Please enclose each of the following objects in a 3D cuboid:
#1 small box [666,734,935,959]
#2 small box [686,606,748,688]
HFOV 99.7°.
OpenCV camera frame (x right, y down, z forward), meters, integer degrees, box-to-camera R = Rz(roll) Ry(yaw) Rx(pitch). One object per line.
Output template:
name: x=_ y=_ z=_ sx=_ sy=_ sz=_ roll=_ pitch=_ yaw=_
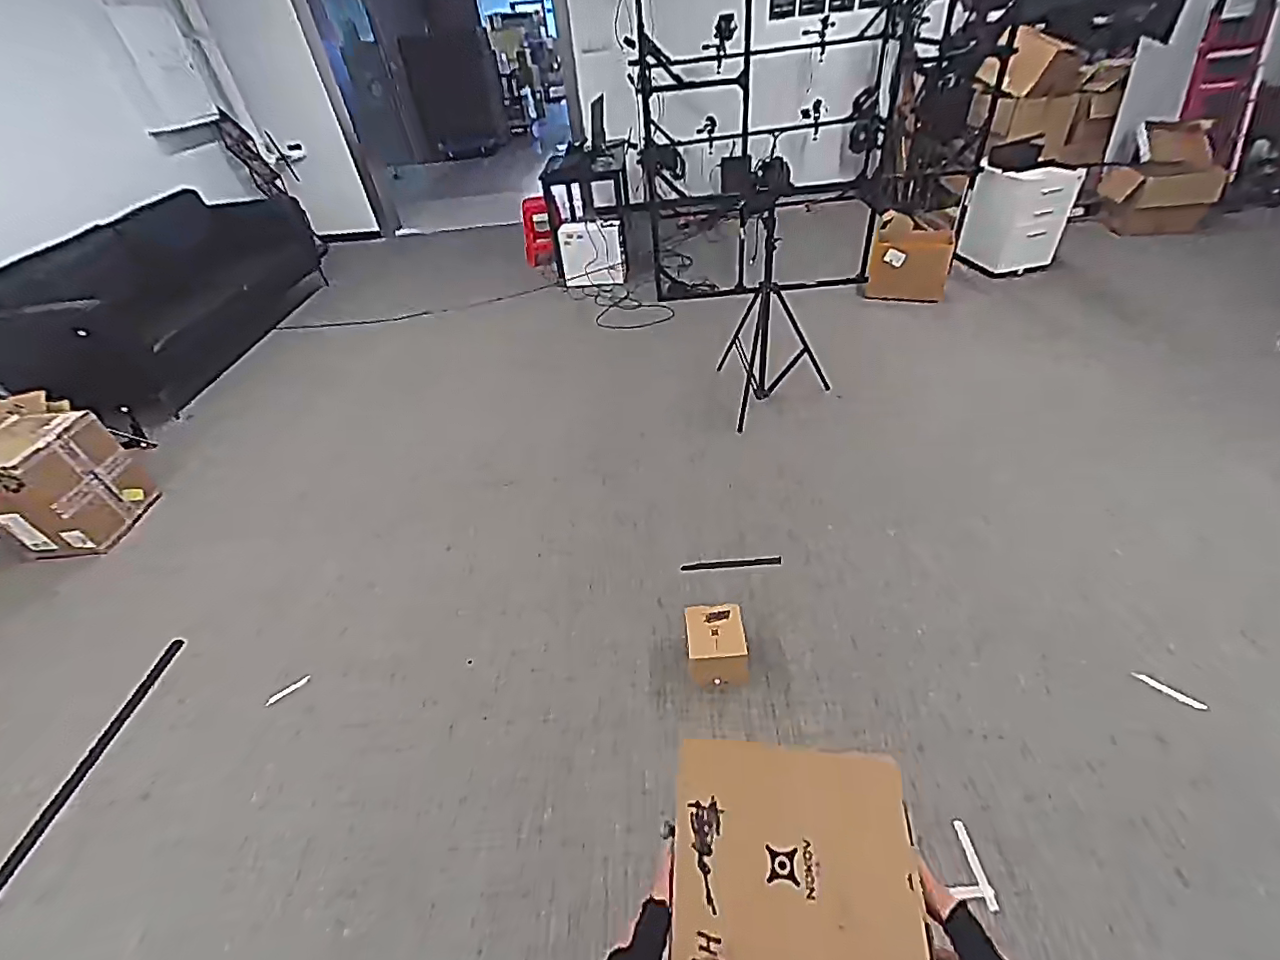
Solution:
small box: x=0.114 y=0.329 z=0.448 sx=0.179 sy=0.176 sz=0.168 roll=3 pitch=49 yaw=6
small box: x=0.227 y=0.502 z=1.628 sx=0.168 sy=0.176 sz=0.179 roll=-5 pitch=41 yaw=3
